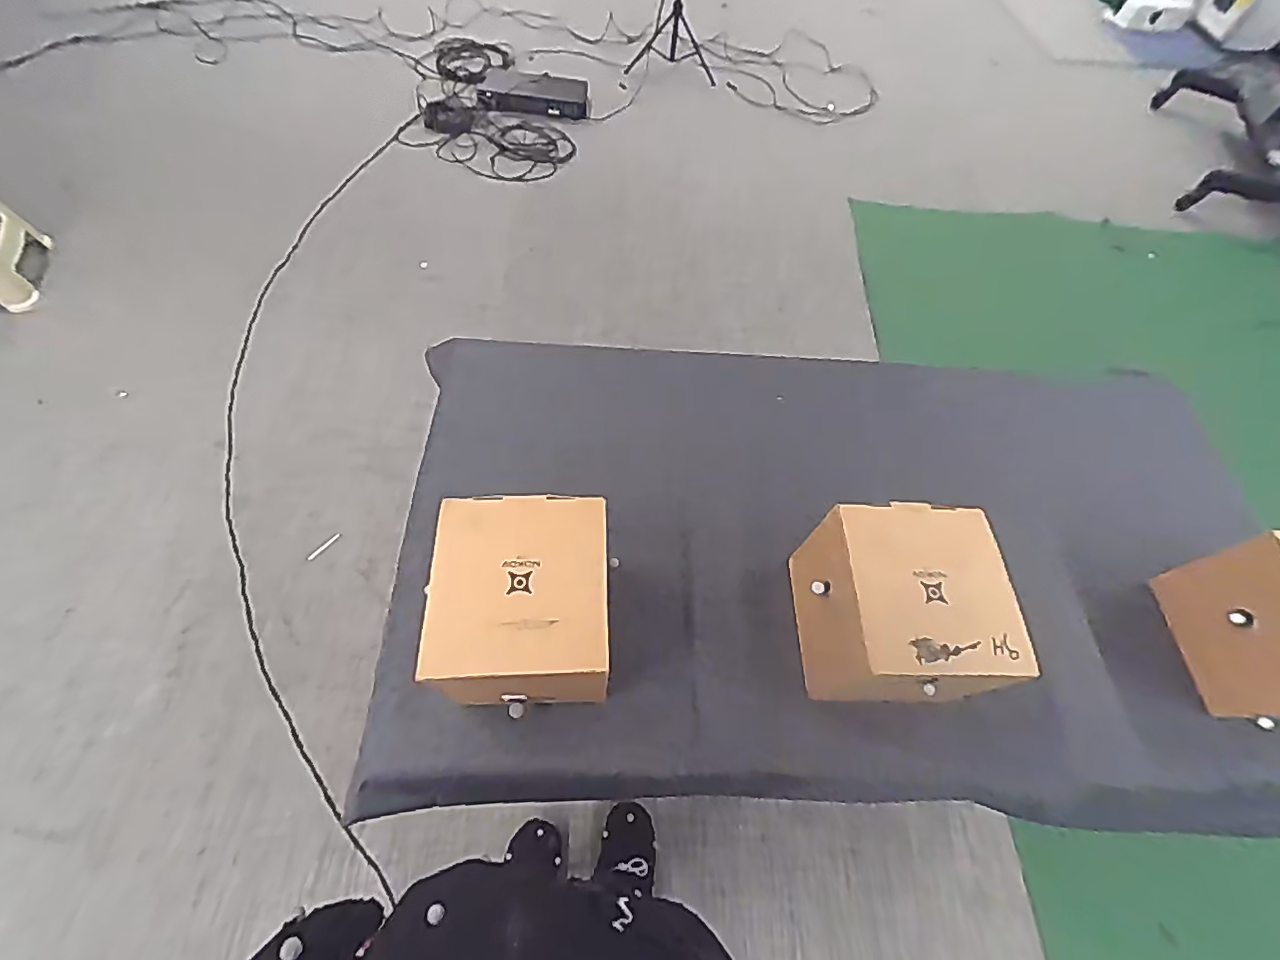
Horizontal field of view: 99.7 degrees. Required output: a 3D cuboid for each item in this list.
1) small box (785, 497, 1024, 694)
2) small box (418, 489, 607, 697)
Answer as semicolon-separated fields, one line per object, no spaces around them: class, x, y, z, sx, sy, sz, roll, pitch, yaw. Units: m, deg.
small box;0.276;0.137;0.616;0.168;0.176;0.179;2;60;-4
small box;-0.122;0.125;0.582;0.168;0.176;0.179;-1;61;-6
